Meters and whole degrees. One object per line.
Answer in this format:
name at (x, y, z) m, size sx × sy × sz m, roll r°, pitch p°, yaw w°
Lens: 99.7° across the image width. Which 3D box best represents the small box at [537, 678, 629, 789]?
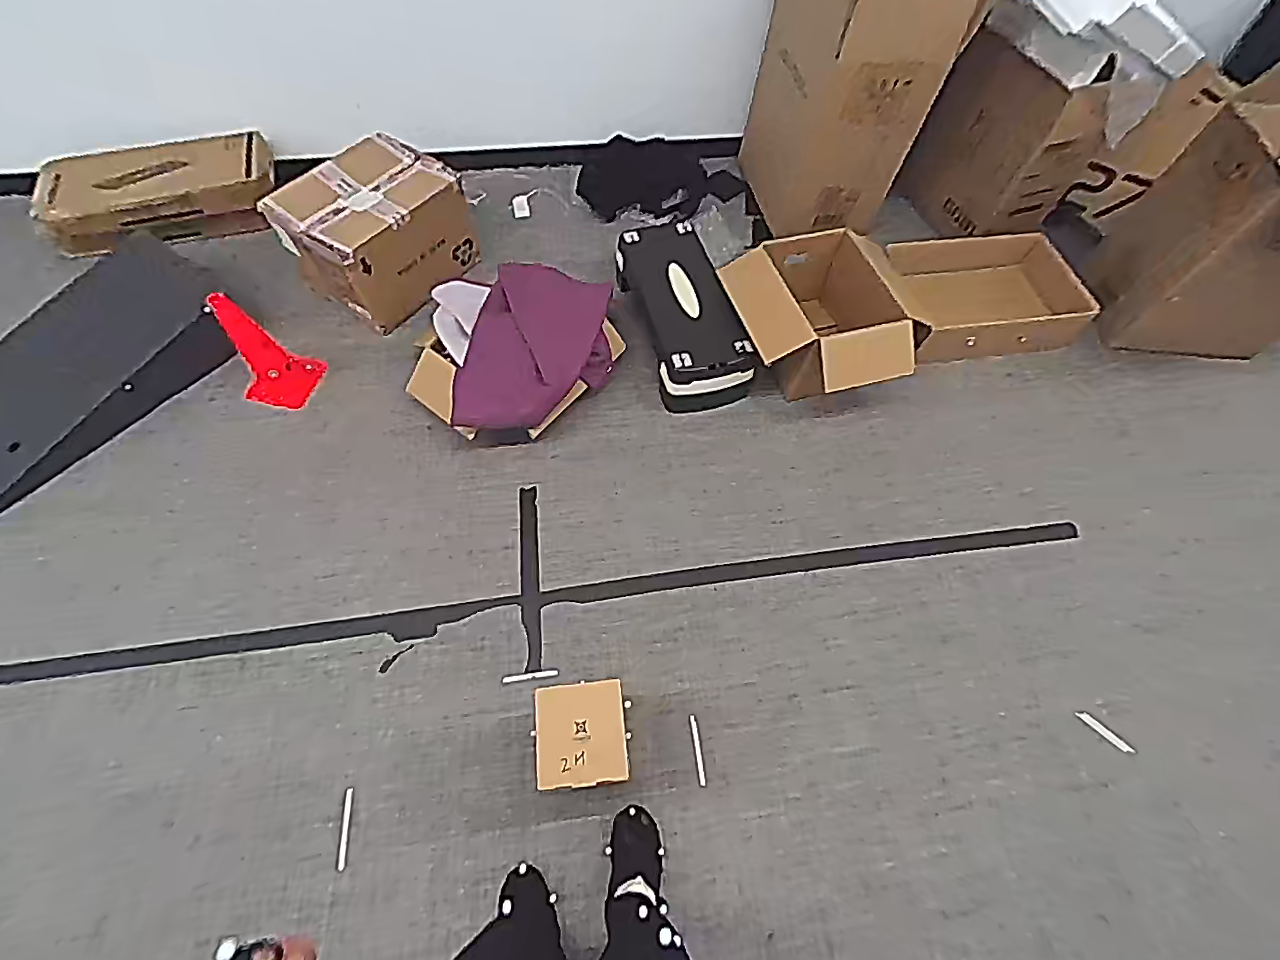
small box at (-0.113, 0.505, 1.073) m, size 0.168 × 0.176 × 0.179 m, roll -5°, pitch 63°, yaw -4°
